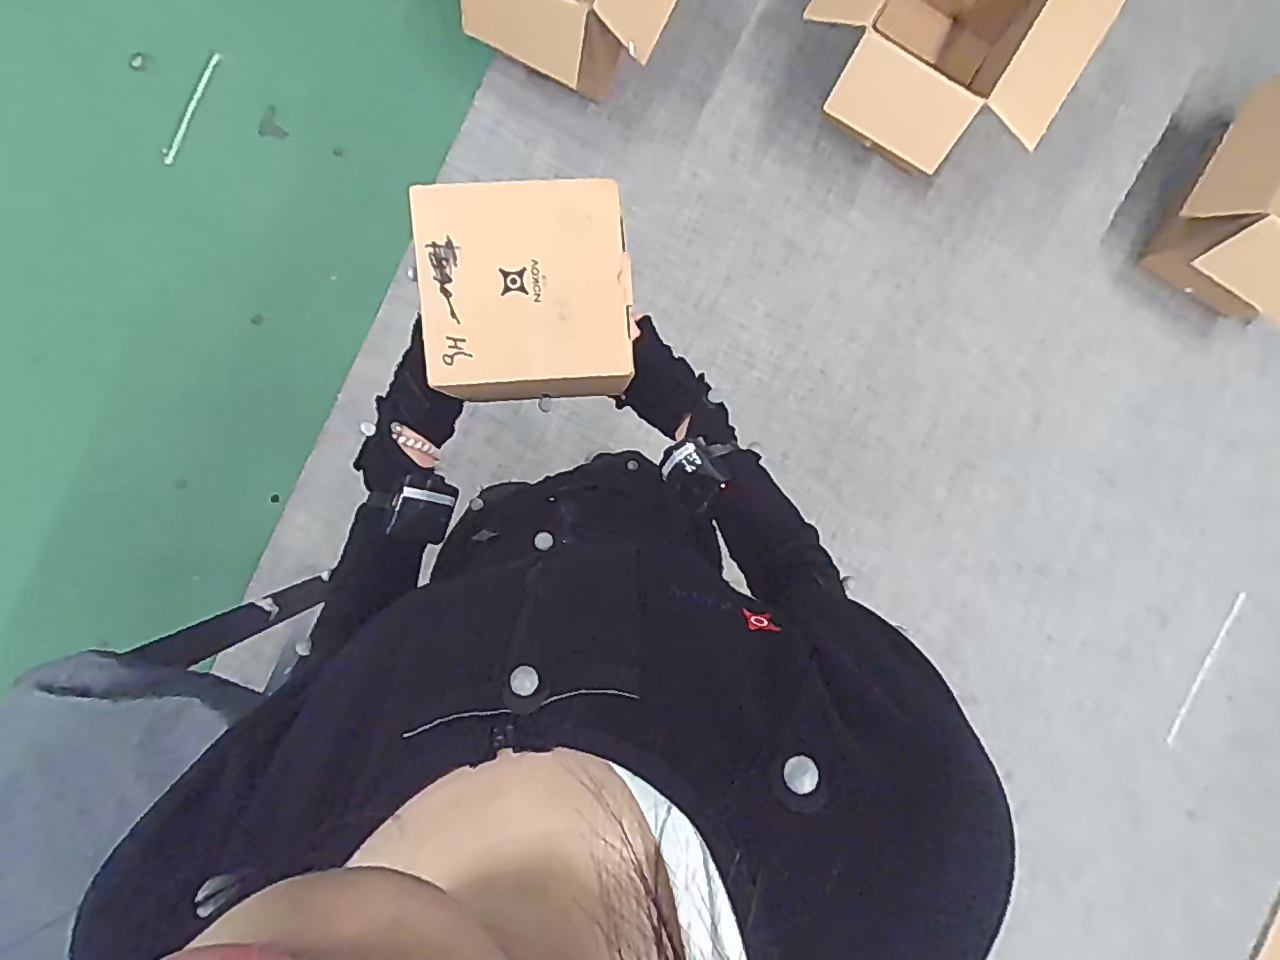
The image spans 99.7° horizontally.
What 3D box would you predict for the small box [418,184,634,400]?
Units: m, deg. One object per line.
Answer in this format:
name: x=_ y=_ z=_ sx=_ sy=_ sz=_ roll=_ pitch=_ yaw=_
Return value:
small box: x=-0.104 y=-0.172 z=0.541 sx=0.179 sy=0.176 sz=0.168 roll=-3 pitch=93 yaw=-6
